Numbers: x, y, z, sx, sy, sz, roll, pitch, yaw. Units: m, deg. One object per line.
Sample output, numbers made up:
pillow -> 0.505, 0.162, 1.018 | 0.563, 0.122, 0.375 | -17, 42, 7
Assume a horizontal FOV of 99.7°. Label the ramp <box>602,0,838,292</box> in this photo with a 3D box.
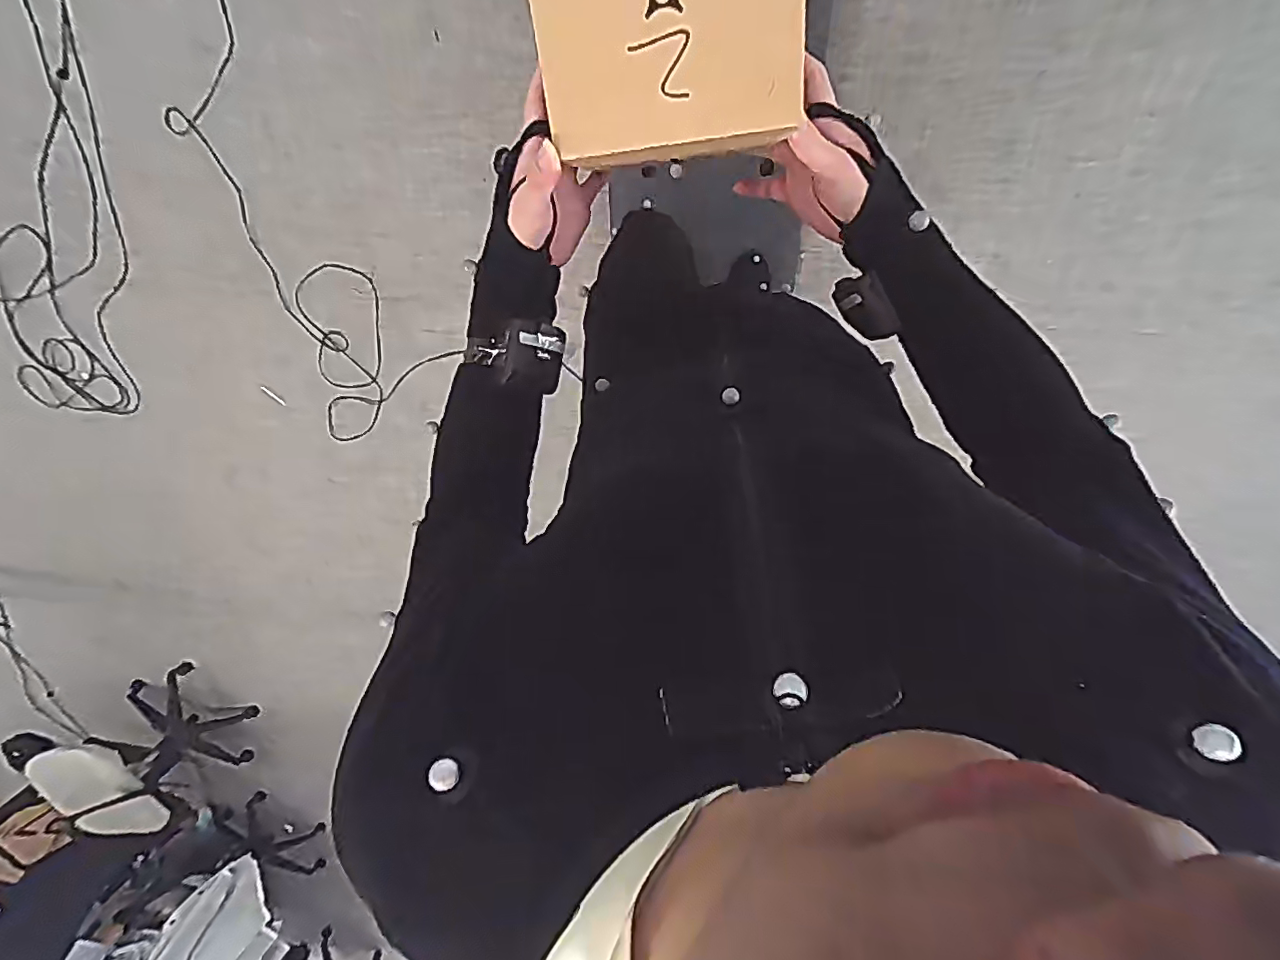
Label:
ramp -> 0.165, -0.916, 1.172 | 0.509, 0.206, 0.991 | 2, 116, 8
